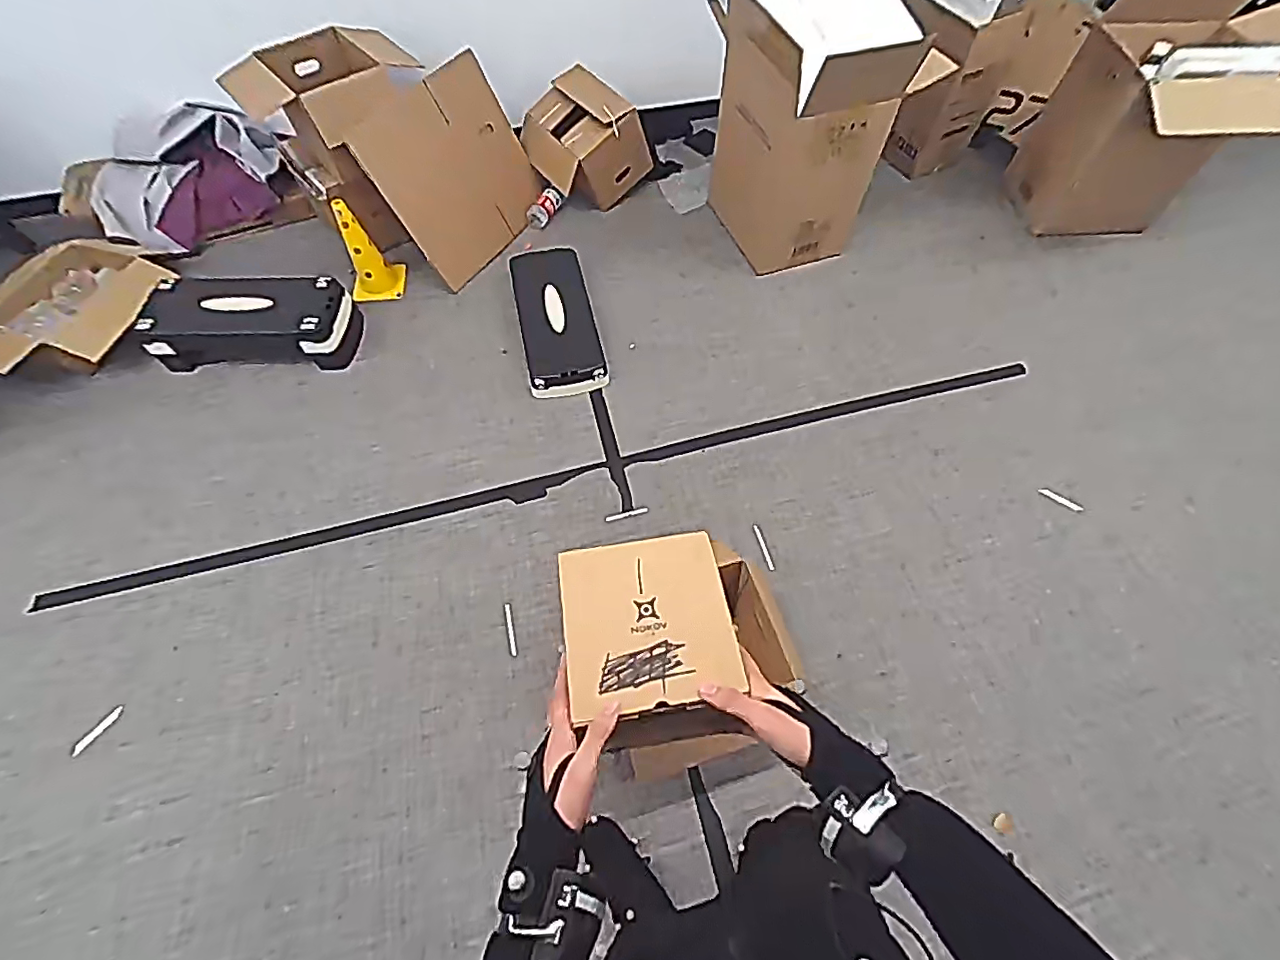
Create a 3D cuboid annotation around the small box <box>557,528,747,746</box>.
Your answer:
[{"bbox_3d":[0.008,0.178,0.589,0.168,0.176,0.179,-8,54,-4],"label":"small box"}]
